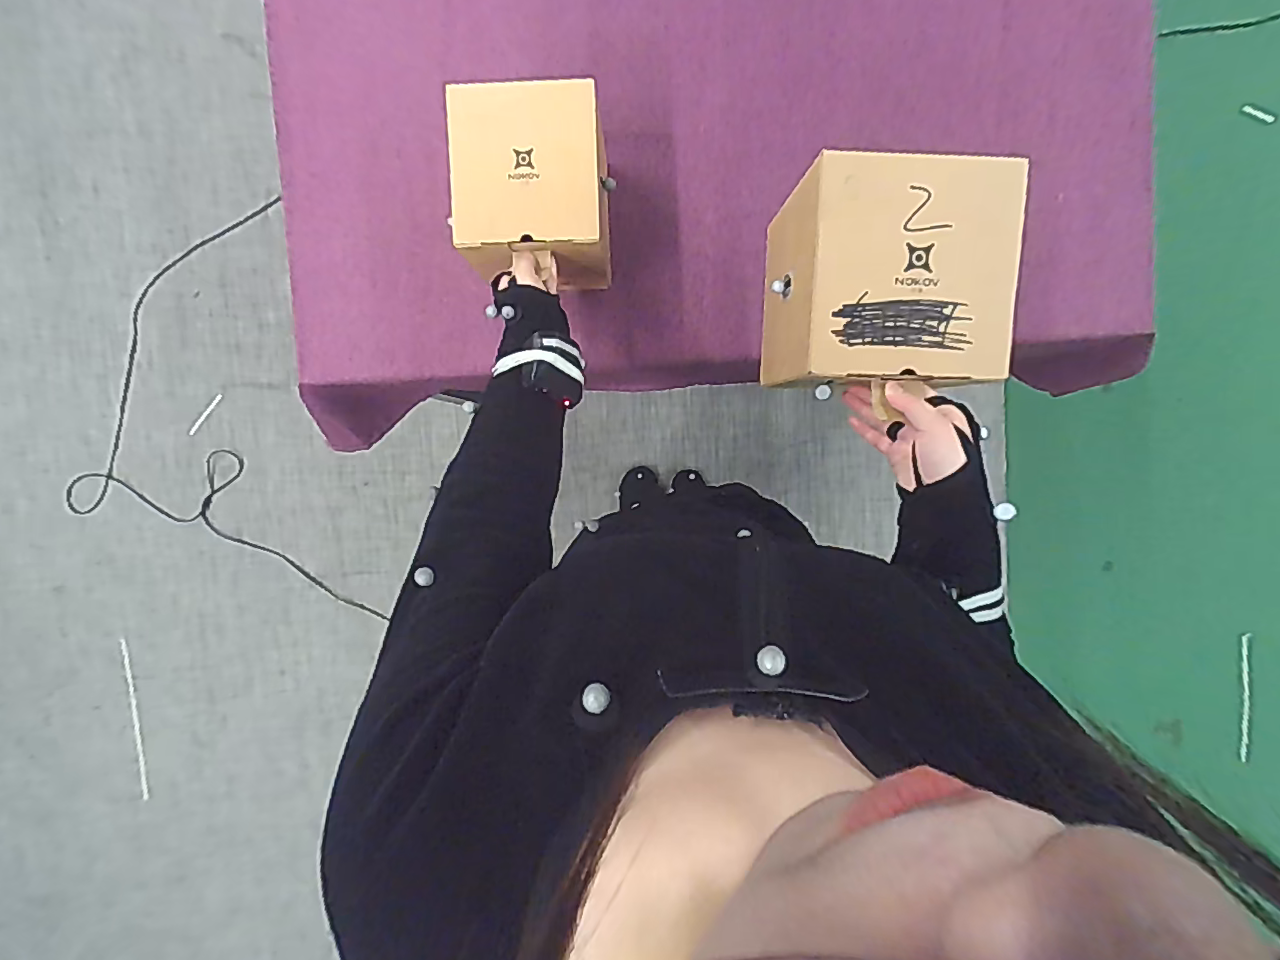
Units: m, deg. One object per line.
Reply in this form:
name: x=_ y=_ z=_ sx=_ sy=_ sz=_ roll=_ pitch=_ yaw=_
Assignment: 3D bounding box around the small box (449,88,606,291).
small box: x=-0.132 y=-0.356 z=0.690 sx=0.168 sy=0.176 sz=0.179 roll=-2 pitch=94 yaw=1
